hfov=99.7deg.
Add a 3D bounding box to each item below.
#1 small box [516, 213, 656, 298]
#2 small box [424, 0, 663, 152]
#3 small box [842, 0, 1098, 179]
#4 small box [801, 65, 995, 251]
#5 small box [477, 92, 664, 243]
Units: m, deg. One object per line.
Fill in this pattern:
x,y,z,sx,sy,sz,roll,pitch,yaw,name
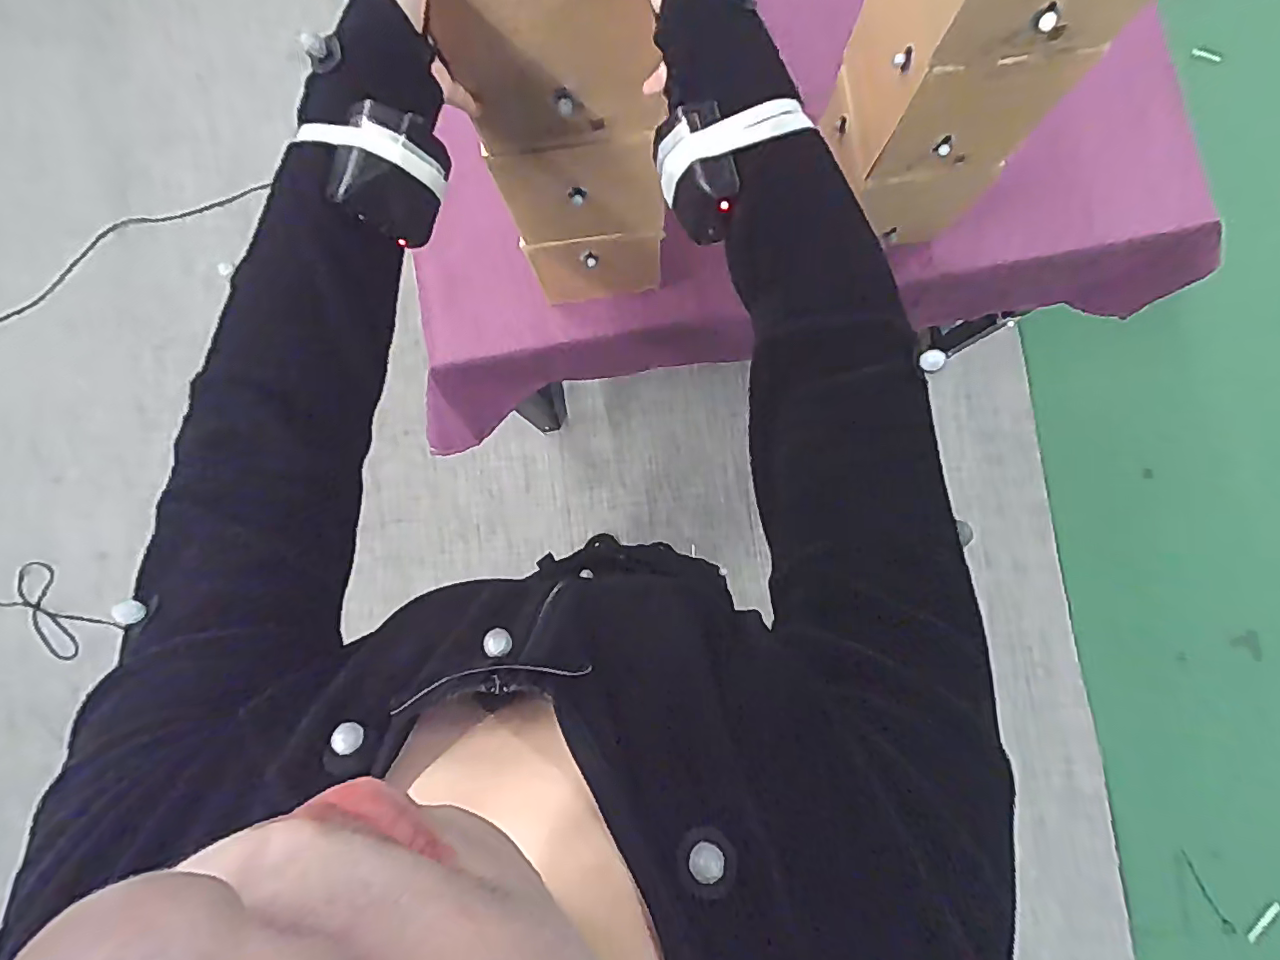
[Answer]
-0.072,-0.369,0.753,0.179,0.176,0.168,-7,86,0,small box
-0.075,-0.402,0.426,0.168,0.176,0.179,-8,87,1,small box
0.336,-0.468,0.589,0.168,0.176,0.179,-7,86,1,small box
0.342,-0.444,0.750,0.179,0.176,0.168,-8,85,0,small box
-0.070,-0.384,0.591,0.179,0.176,0.168,-7,86,2,small box
